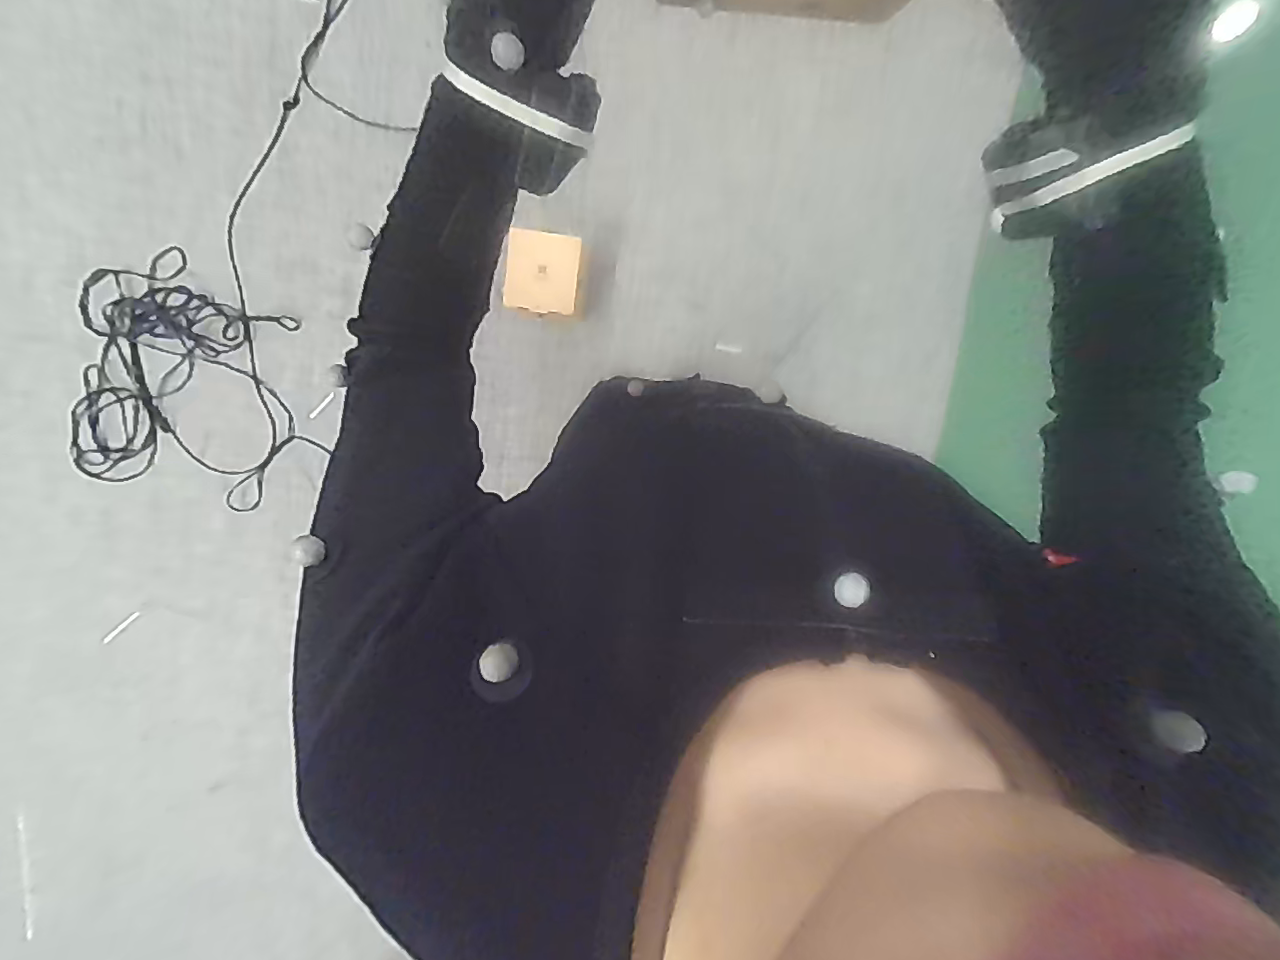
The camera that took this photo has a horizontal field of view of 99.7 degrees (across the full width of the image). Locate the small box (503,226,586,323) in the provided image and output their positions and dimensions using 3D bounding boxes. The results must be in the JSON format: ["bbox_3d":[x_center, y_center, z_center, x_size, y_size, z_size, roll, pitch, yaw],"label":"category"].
[{"bbox_3d":[-0.226,-0.493,1.318,0.168,0.176,0.179,8,99,-1],"label":"small box"}]
